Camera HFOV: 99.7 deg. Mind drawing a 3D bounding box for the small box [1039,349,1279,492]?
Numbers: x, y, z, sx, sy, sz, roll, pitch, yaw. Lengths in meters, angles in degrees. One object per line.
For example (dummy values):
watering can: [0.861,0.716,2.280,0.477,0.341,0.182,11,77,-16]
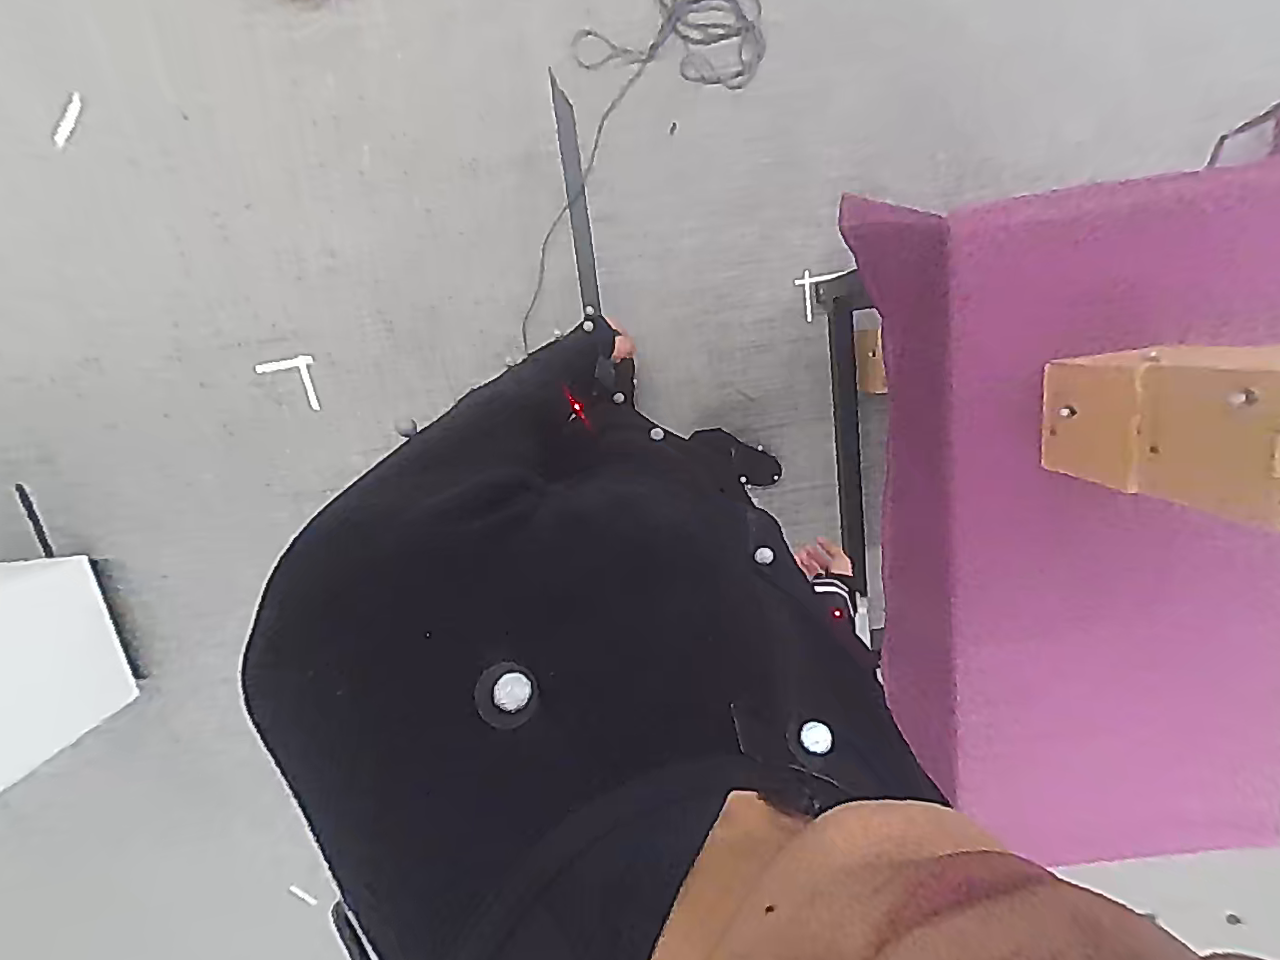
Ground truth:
small box: [0.718,-0.093,0.770,0.179,0.176,0.168,-8,104,3]
